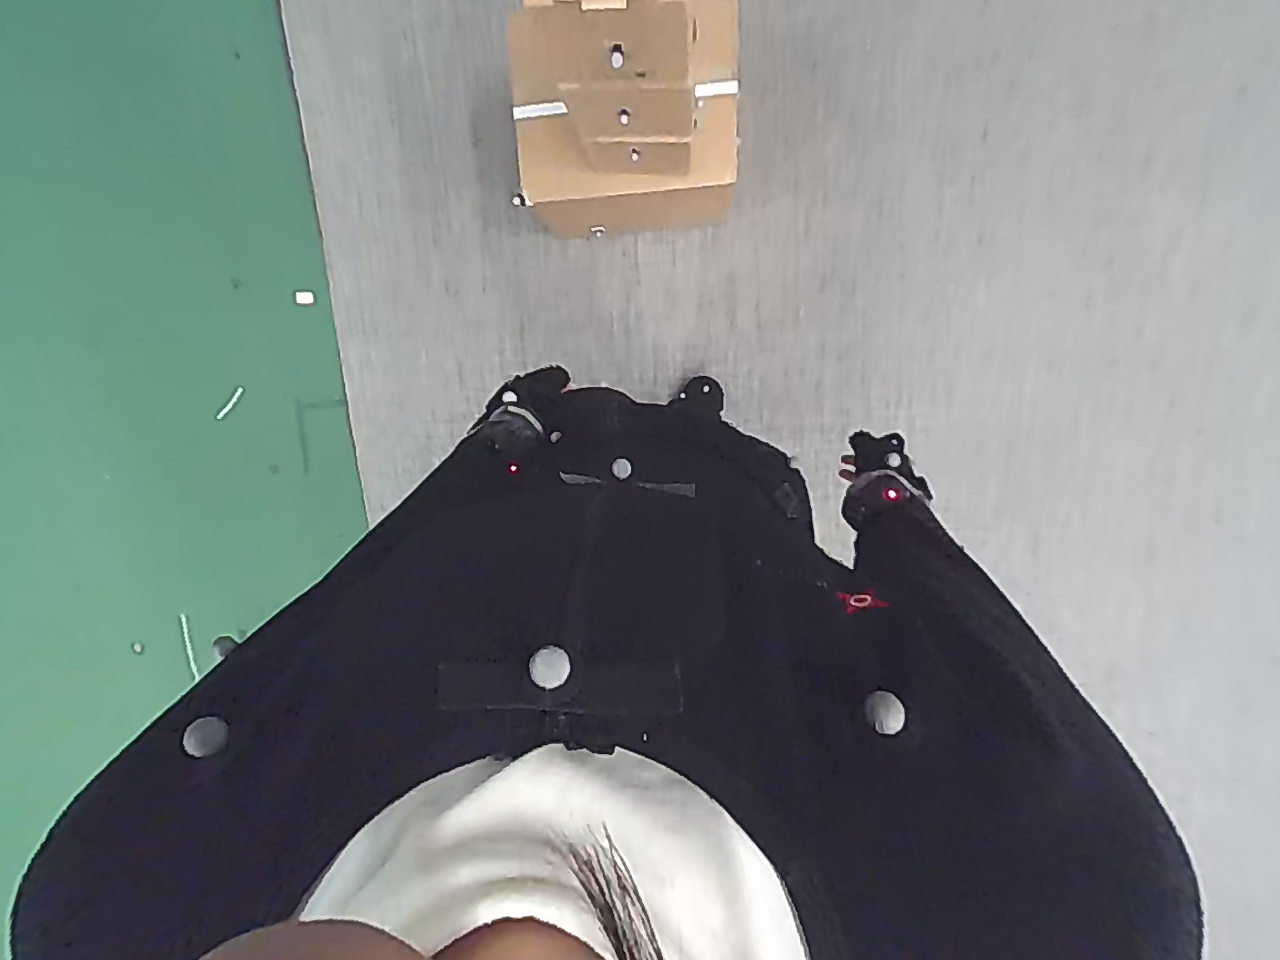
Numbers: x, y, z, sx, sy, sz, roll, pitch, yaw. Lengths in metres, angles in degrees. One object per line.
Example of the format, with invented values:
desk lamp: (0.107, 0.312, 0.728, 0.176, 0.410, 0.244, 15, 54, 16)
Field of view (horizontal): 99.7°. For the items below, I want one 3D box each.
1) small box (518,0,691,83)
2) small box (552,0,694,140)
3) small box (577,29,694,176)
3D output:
small box: (-0.029, -0.559, 0.582, 0.168, 0.176, 0.179, 3, 105, 5)
small box: (-0.017, -0.588, 0.743, 0.179, 0.176, 0.168, 3, 104, 6)
small box: (-0.003, -0.623, 0.903, 0.179, 0.176, 0.168, 3, 105, 3)
